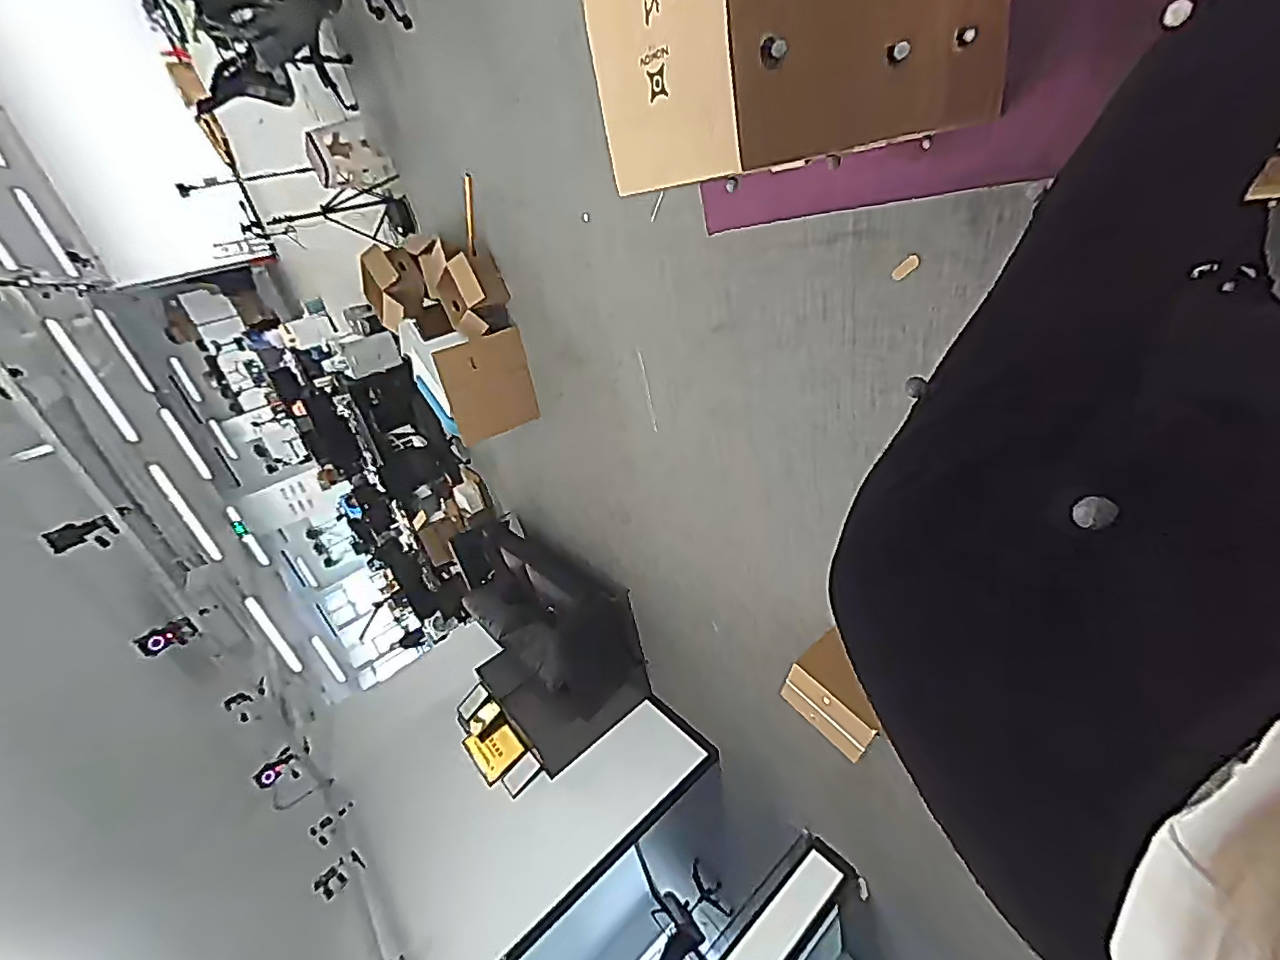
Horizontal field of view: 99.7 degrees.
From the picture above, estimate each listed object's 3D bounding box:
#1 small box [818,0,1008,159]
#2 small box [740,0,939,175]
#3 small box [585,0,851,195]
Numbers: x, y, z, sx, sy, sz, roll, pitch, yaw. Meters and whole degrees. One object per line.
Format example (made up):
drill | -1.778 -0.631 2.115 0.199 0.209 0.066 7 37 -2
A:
small box | 0.324 -0.516 0.663 0.168 0.176 0.179 22 131 47
small box | 0.200 -0.449 0.580 0.168 0.176 0.179 21 132 47
small box | 0.076 -0.379 0.494 0.168 0.176 0.179 22 132 46
